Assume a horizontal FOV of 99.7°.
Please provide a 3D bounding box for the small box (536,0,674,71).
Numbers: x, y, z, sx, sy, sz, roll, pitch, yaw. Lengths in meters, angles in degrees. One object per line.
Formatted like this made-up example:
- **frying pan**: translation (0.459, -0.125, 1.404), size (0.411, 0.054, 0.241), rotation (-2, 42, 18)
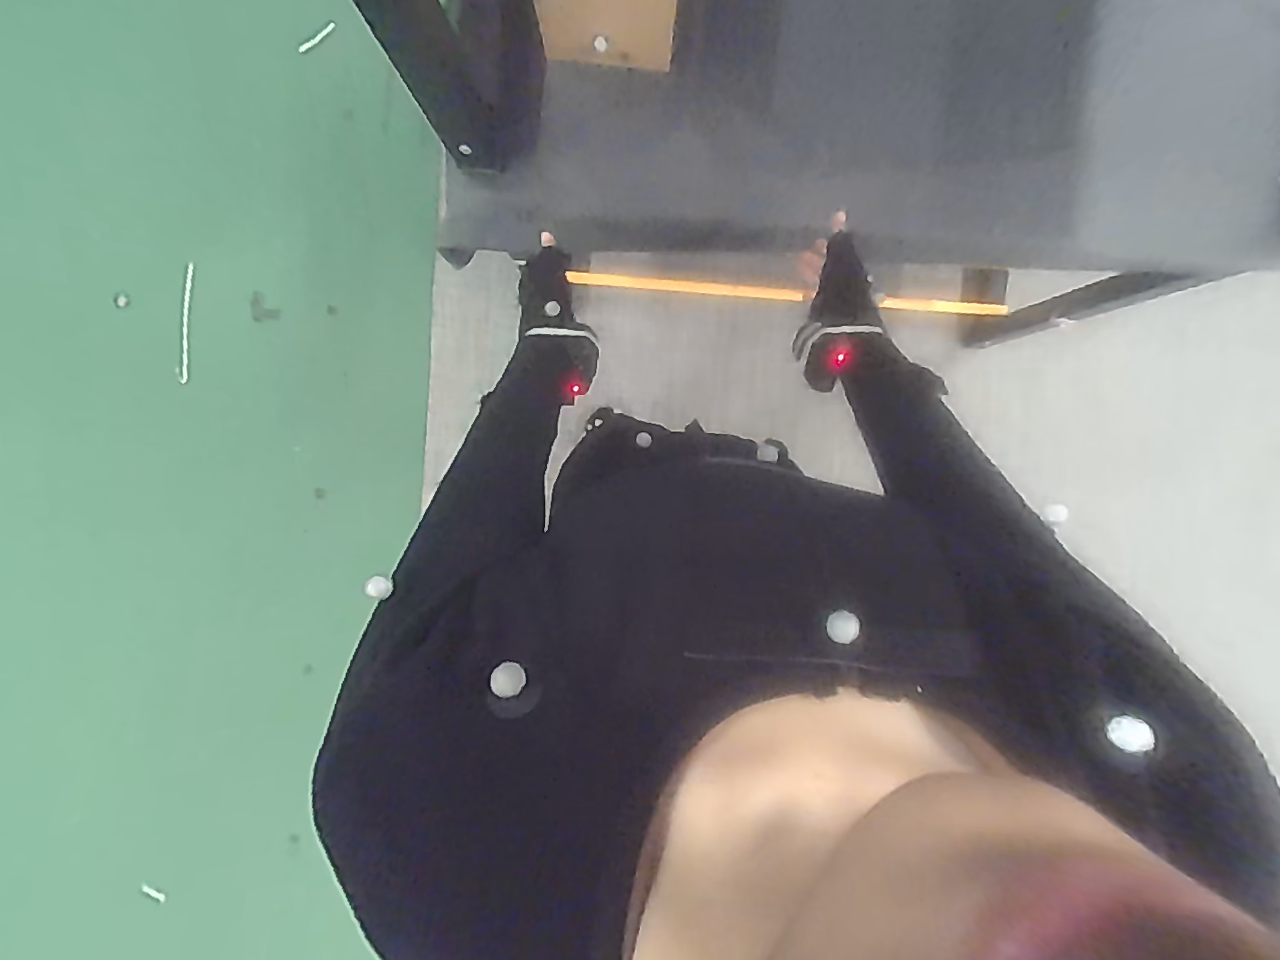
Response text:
- **small box**: translation (-0.037, -0.632, 0.630), size (0.168, 0.176, 0.179), rotation (5, 94, -1)
